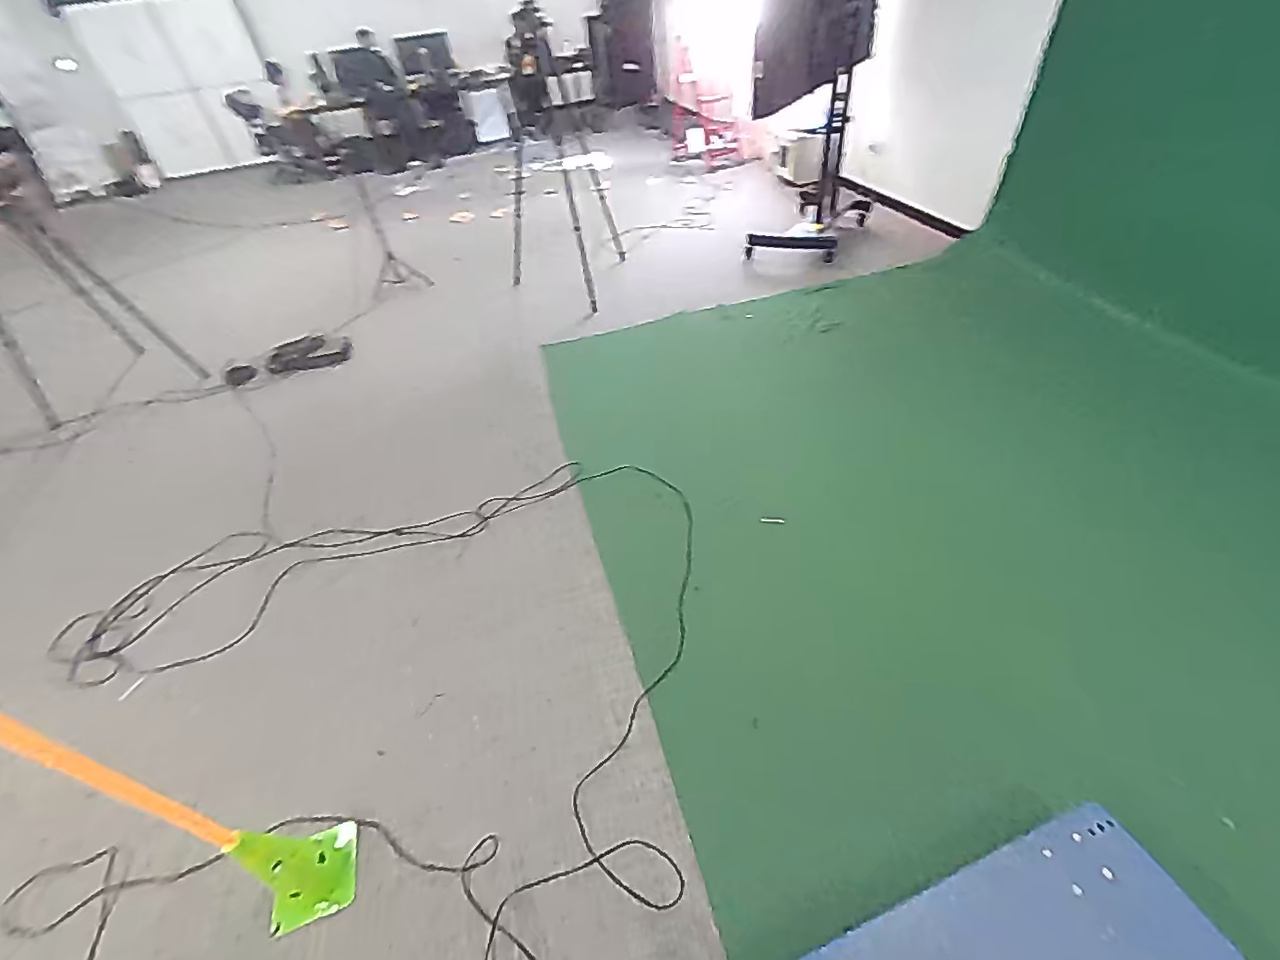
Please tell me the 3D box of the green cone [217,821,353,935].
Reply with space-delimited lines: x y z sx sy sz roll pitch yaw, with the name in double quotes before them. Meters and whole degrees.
"green cone" -0.867 0.897 1.283 0.200 0.368 0.202 -18 43 -11
